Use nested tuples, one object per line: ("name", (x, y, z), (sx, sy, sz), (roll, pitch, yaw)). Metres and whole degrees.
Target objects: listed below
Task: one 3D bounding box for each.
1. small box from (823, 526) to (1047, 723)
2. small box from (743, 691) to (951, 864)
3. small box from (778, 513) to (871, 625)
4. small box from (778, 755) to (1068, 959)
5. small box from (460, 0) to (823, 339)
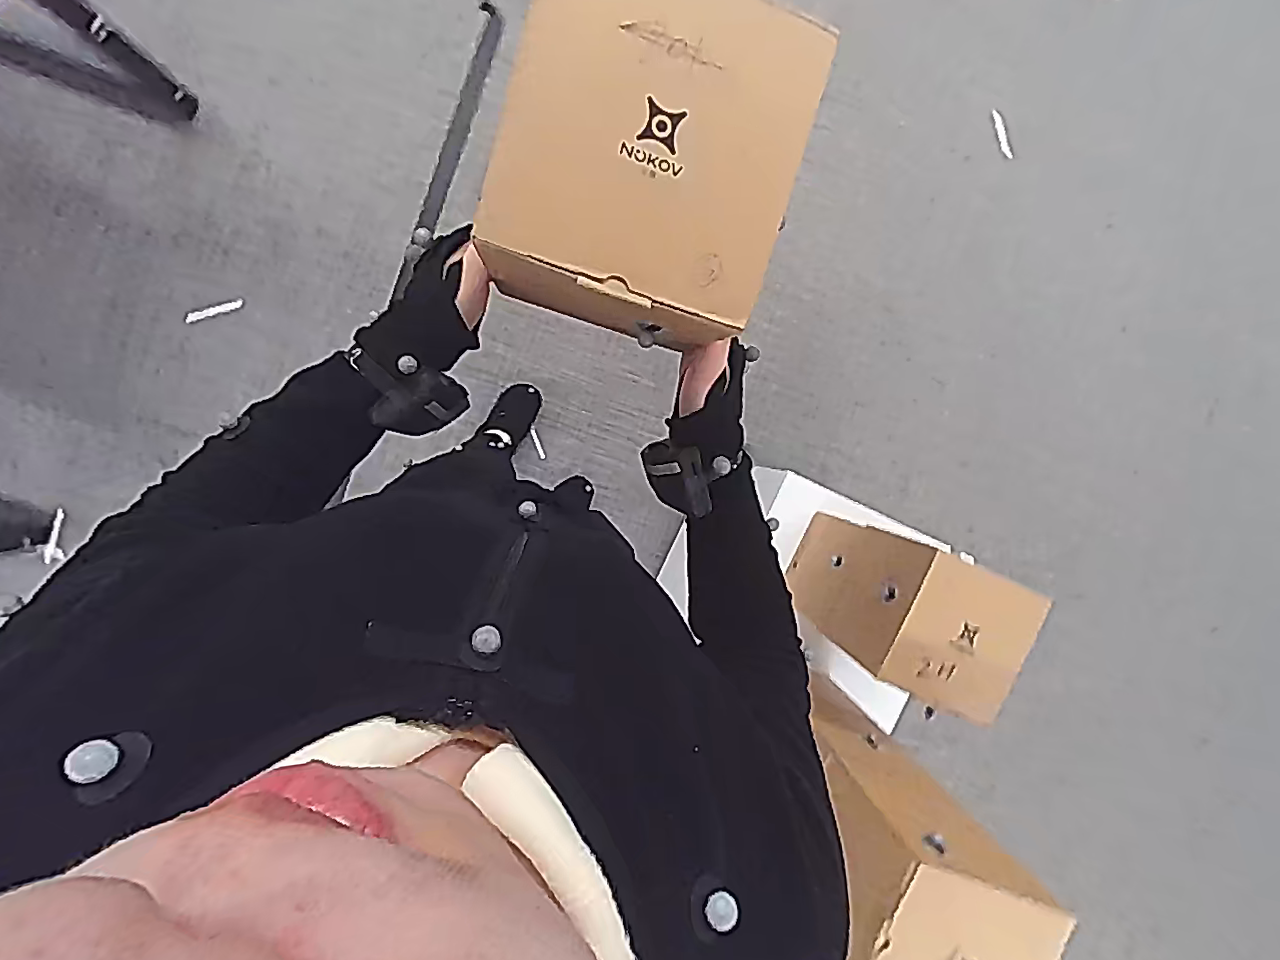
("small box", (0.374, 0.178, 0.722), (0.168, 0.176, 0.179), (26, 92, -7))
("small box", (0.262, 0.414, 0.732), (0.179, 0.176, 0.168), (23, 92, -8))
("small box", (0.360, 0.166, 0.886), (0.179, 0.176, 0.168), (26, 91, -9))
("small box", (0.278, 0.428, 0.570), (0.179, 0.176, 0.168), (23, 92, -7))
("small box", (-0.010, -0.207, 0.373), (0.168, 0.176, 0.179), (15, 97, -12))
